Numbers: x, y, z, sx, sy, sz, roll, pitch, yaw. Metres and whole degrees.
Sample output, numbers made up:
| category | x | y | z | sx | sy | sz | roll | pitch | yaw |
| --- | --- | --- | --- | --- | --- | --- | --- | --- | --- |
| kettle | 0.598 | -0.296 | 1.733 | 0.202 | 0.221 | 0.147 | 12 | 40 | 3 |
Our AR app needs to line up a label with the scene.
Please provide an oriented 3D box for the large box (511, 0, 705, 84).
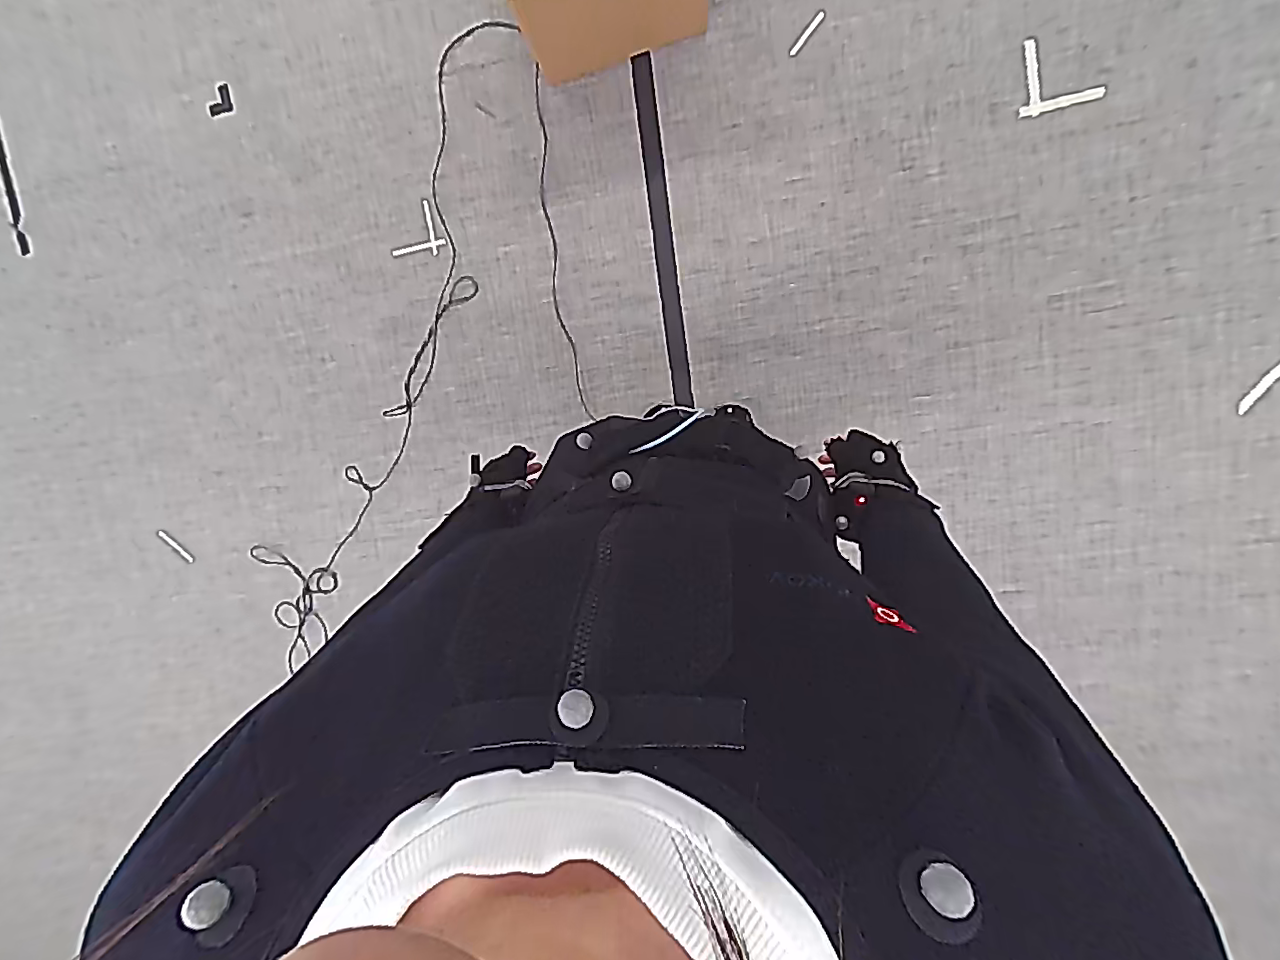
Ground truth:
| category | x | y | z | sx | sy | sz | roll | pitch | yaw |
| --- | --- | --- | --- | --- | --- | --- | --- | --- | --- |
| large box | -0.090 | -1.145 | 1.145 | 0.408 | 0.320 | 0.320 | -14 | 98 | 8 |
